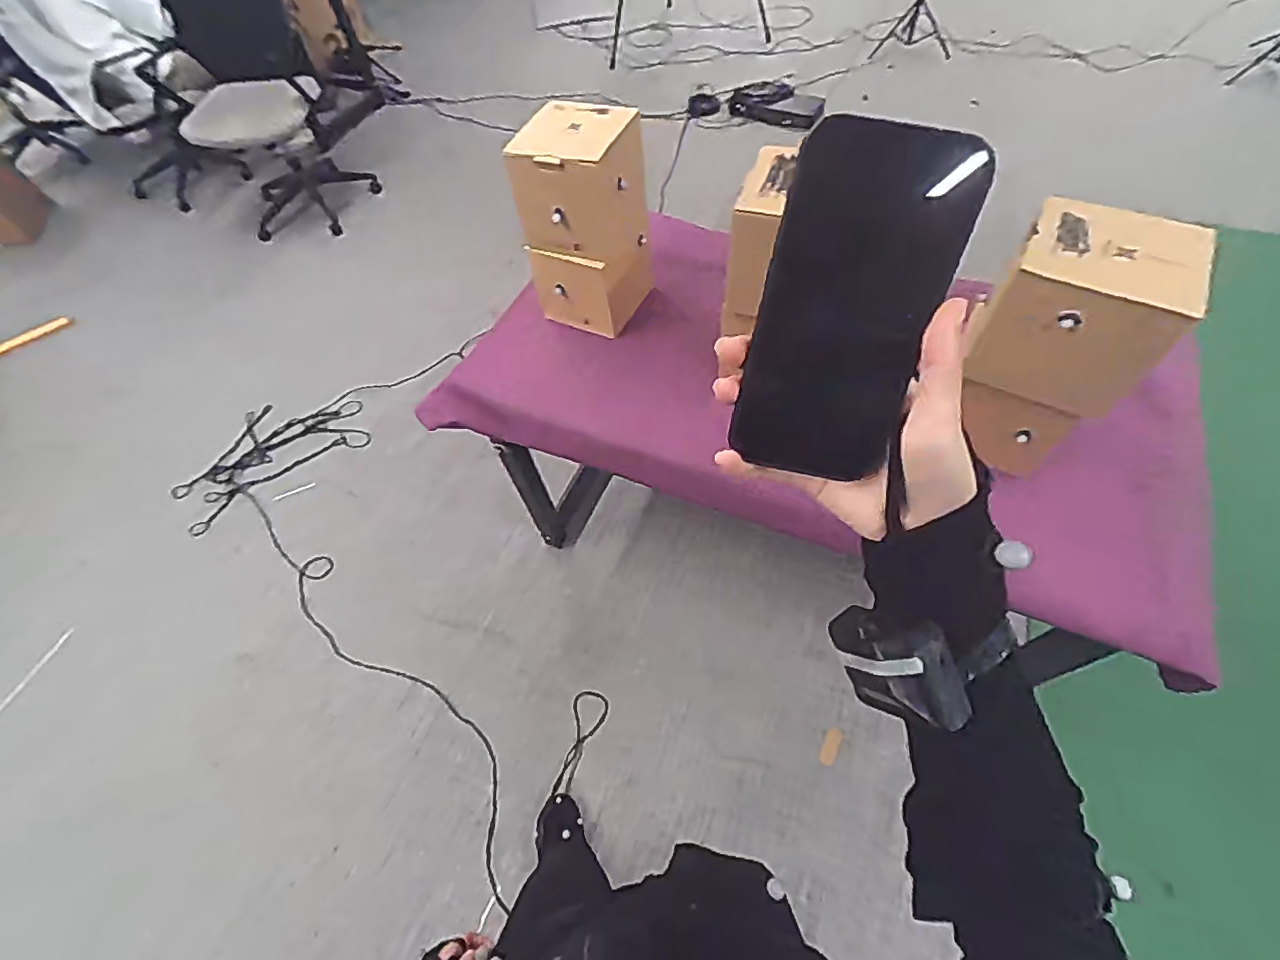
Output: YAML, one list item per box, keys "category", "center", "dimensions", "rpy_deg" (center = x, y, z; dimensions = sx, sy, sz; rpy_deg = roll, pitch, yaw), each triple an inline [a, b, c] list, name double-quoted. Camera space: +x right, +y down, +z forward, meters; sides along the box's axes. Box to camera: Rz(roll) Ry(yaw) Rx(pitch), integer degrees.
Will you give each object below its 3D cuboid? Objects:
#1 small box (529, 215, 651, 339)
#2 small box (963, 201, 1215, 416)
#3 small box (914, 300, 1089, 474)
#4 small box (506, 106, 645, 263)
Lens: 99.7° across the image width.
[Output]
- category: "small box"
  center: [-0.085, -0.405, 1.056]
  dimensions: [0.168, 0.176, 0.179]
  rpy_deg: [21, 62, 18]
- category: "small box"
  center: [0.538, -0.208, 0.670]
  dimensions: [0.179, 0.176, 0.168]
  rpy_deg: [26, 63, 20]
- category: "small box"
  center: [0.551, -0.134, 0.816]
  dimensions: [0.179, 0.176, 0.168]
  rpy_deg: [26, 63, 21]
- category: "small box"
  center: [-0.096, -0.500, 0.923]
  dimensions: [0.168, 0.176, 0.179]
  rpy_deg: [17, 61, 15]
